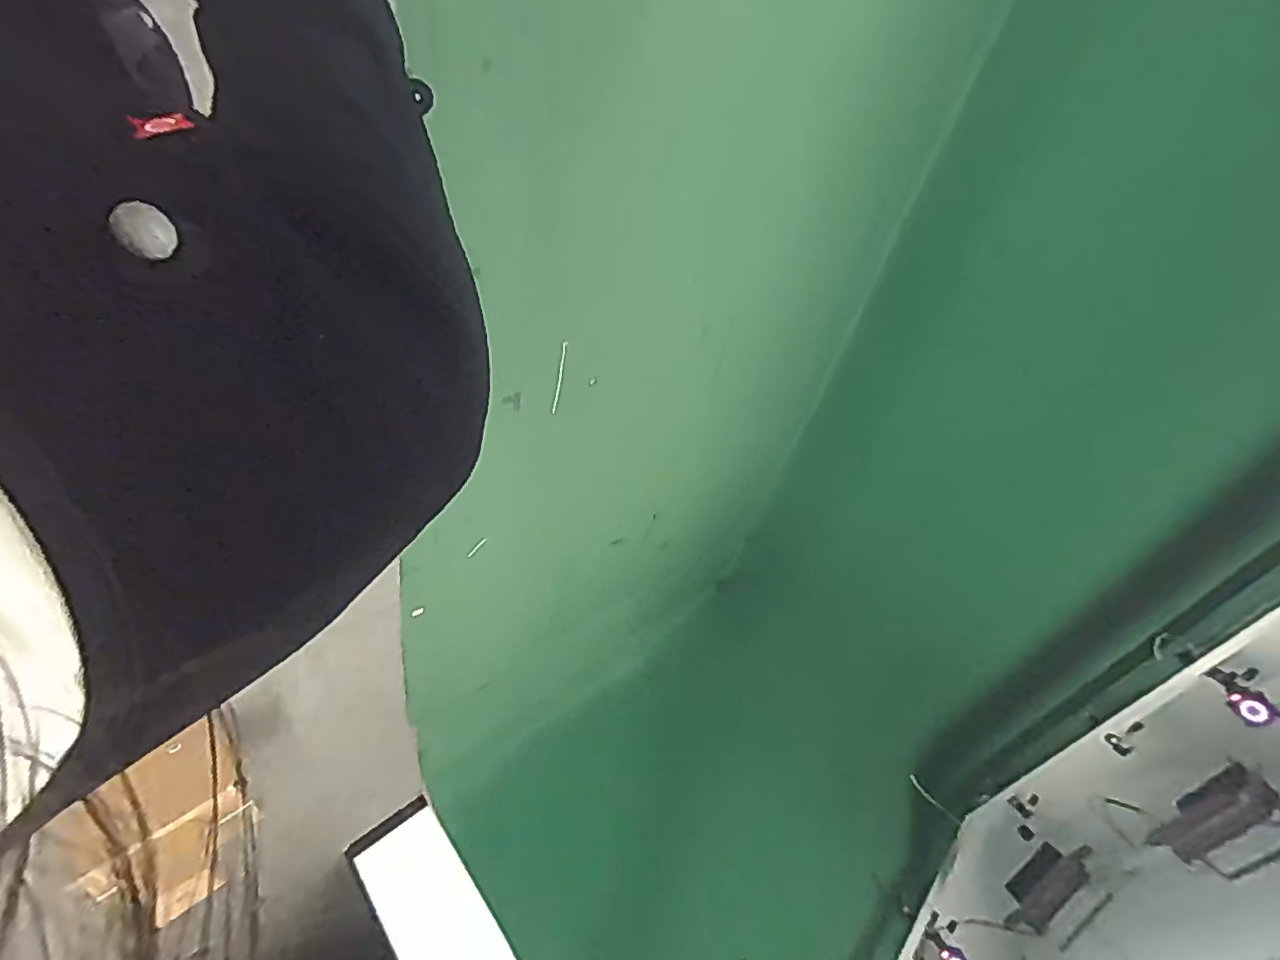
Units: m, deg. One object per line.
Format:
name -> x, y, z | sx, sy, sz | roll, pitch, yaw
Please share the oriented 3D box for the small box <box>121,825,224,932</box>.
small box -> -1.388, 1.178, 1.608 | 0.179, 0.176, 0.168 | -26, 142, -36
